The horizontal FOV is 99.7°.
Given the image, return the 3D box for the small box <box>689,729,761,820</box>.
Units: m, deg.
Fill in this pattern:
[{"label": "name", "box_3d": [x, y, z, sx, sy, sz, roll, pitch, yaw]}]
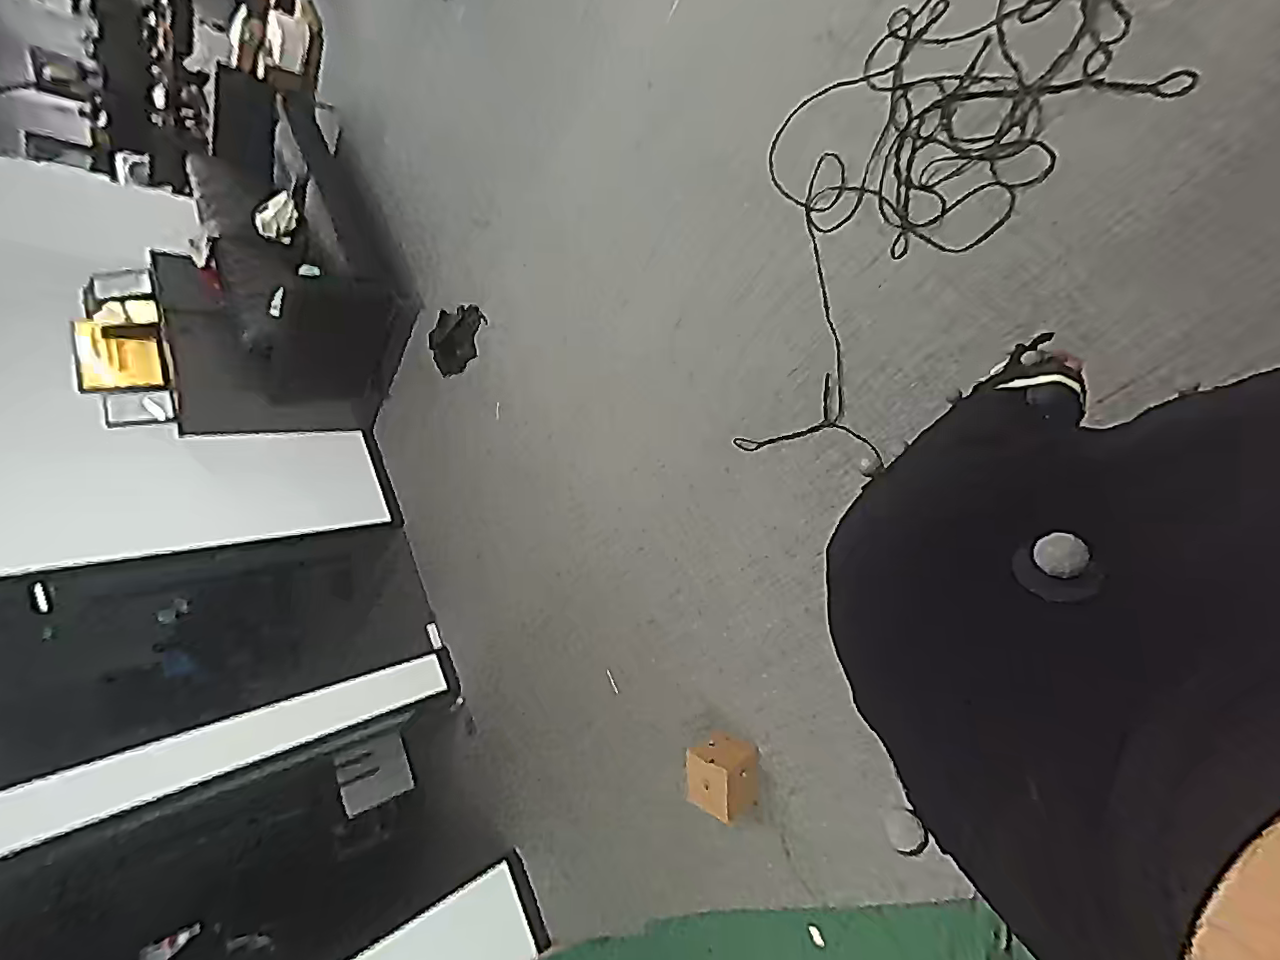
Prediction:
[{"label": "small box", "box_3d": [0.277, 0.937, 1.743, 0.168, 0.176, 0.179, 3, 98, 47]}]
